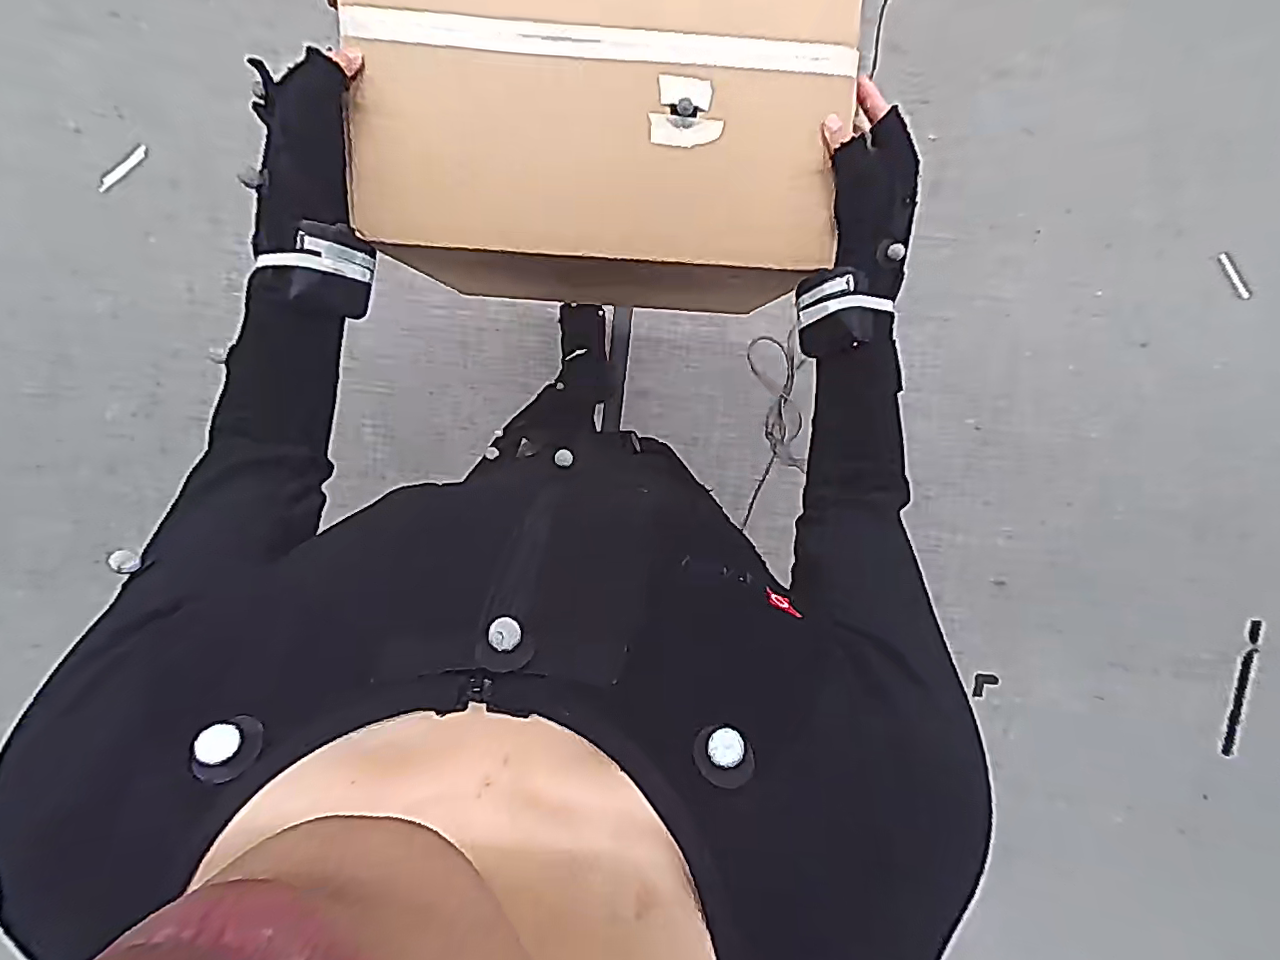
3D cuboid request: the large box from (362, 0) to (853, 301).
[{"bbox_3d":[-0.034,-0.382,0.589,0.408,0.320,0.320,3,102,-3],"label":"large box"}]
